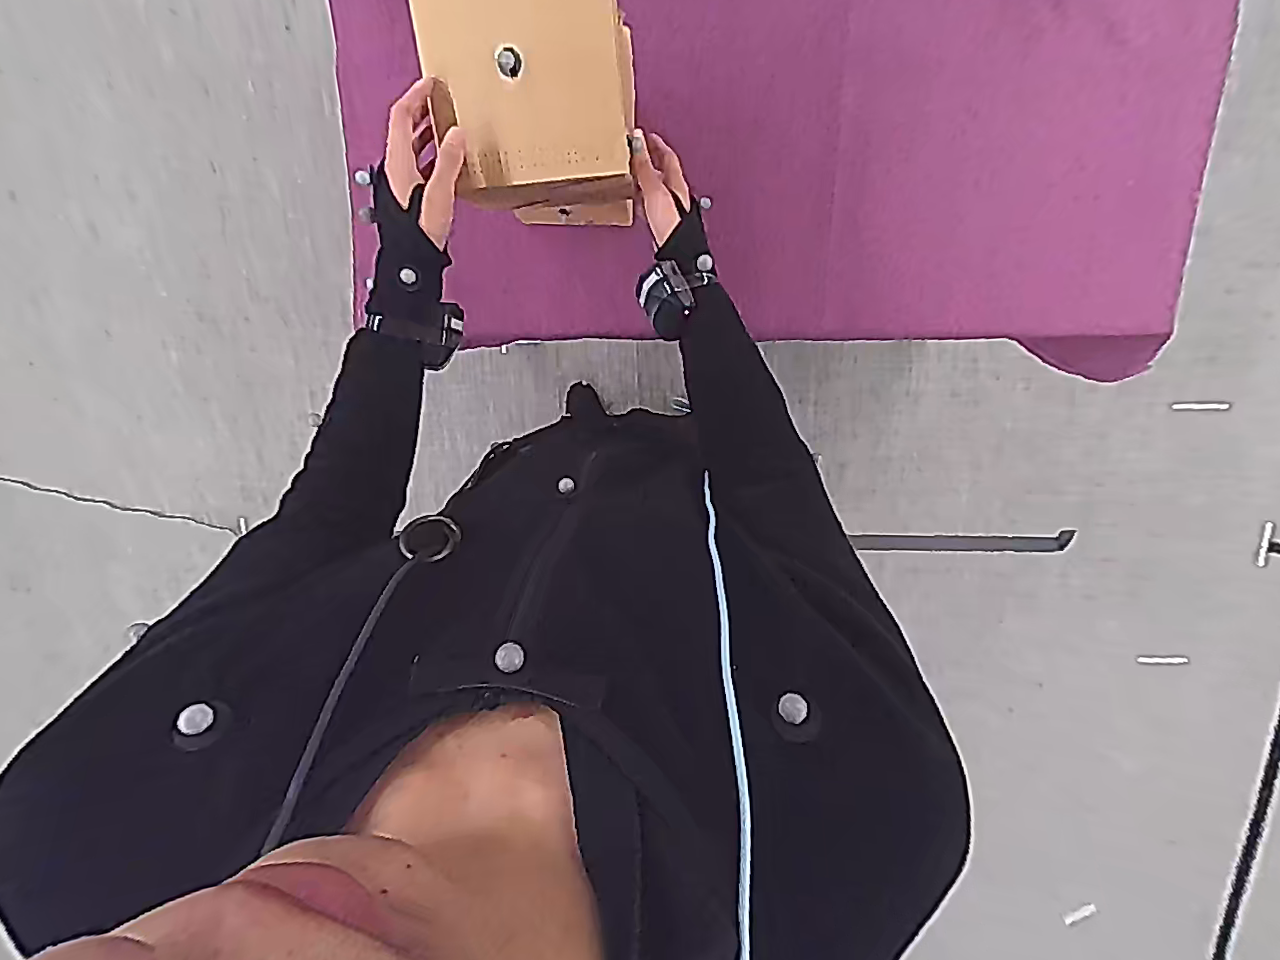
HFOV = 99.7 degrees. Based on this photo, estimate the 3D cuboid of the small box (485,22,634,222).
[{"bbox_3d":[-0.095,-0.448,0.705,0.168,0.176,0.179,2,103,0],"label":"small box"}]
